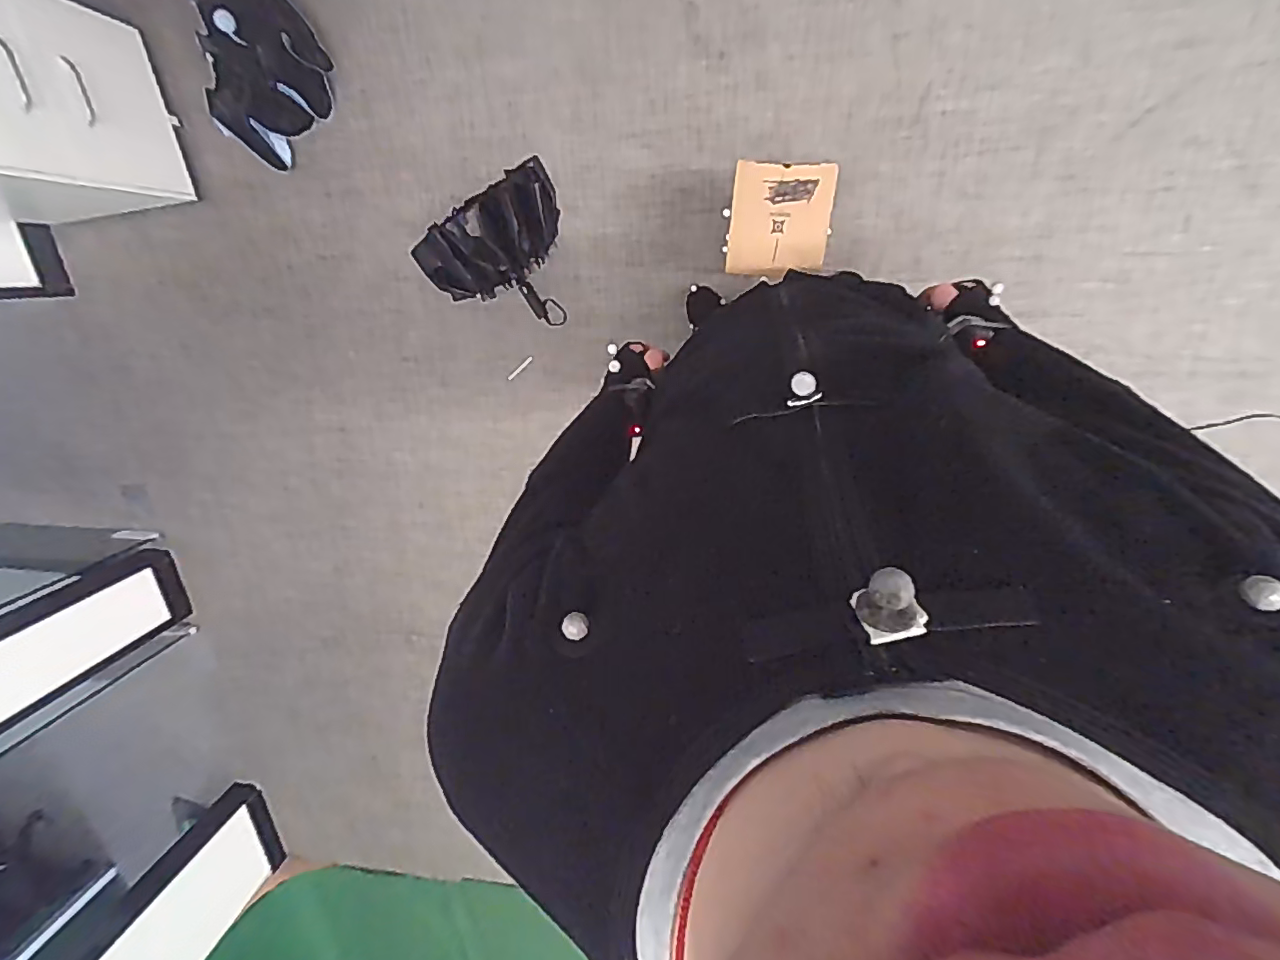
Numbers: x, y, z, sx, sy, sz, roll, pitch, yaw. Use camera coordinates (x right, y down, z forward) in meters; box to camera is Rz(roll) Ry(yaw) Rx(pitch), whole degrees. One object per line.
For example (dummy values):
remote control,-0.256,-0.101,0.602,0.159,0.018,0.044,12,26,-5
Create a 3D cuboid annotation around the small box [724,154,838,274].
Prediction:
small box,0.244,-0.474,0.982,0.168,0.176,0.179,7,113,7
